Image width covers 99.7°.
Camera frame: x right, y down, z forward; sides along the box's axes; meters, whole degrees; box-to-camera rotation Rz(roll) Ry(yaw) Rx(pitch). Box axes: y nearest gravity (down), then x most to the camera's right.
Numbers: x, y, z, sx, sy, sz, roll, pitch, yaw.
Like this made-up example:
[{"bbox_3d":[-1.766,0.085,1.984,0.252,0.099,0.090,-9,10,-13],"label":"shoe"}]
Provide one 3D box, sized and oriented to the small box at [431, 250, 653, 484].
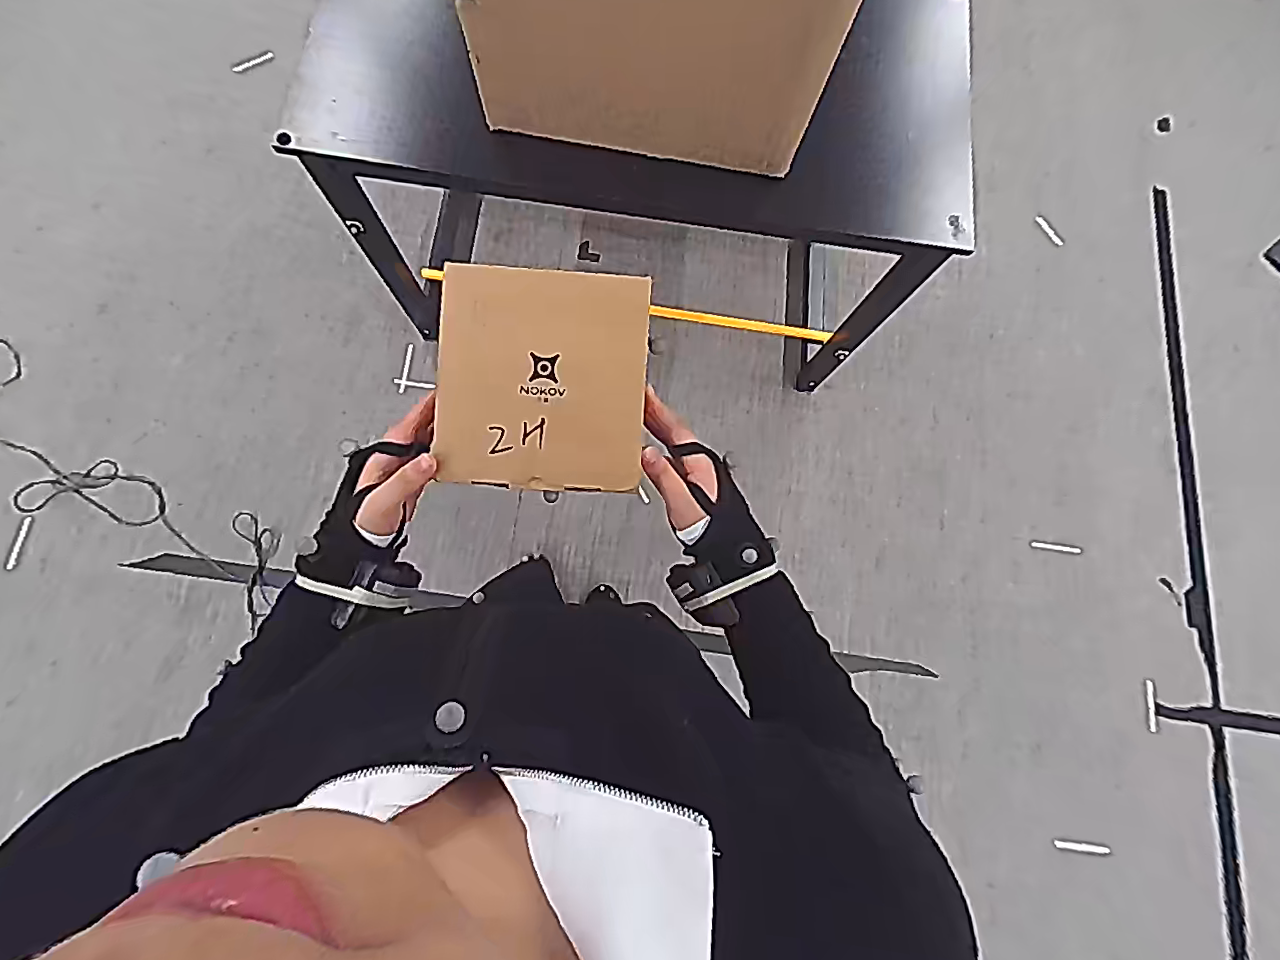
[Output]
[{"bbox_3d":[-0.080,-0.088,0.505,0.168,0.176,0.179,3,90,-2],"label":"small box"}]
